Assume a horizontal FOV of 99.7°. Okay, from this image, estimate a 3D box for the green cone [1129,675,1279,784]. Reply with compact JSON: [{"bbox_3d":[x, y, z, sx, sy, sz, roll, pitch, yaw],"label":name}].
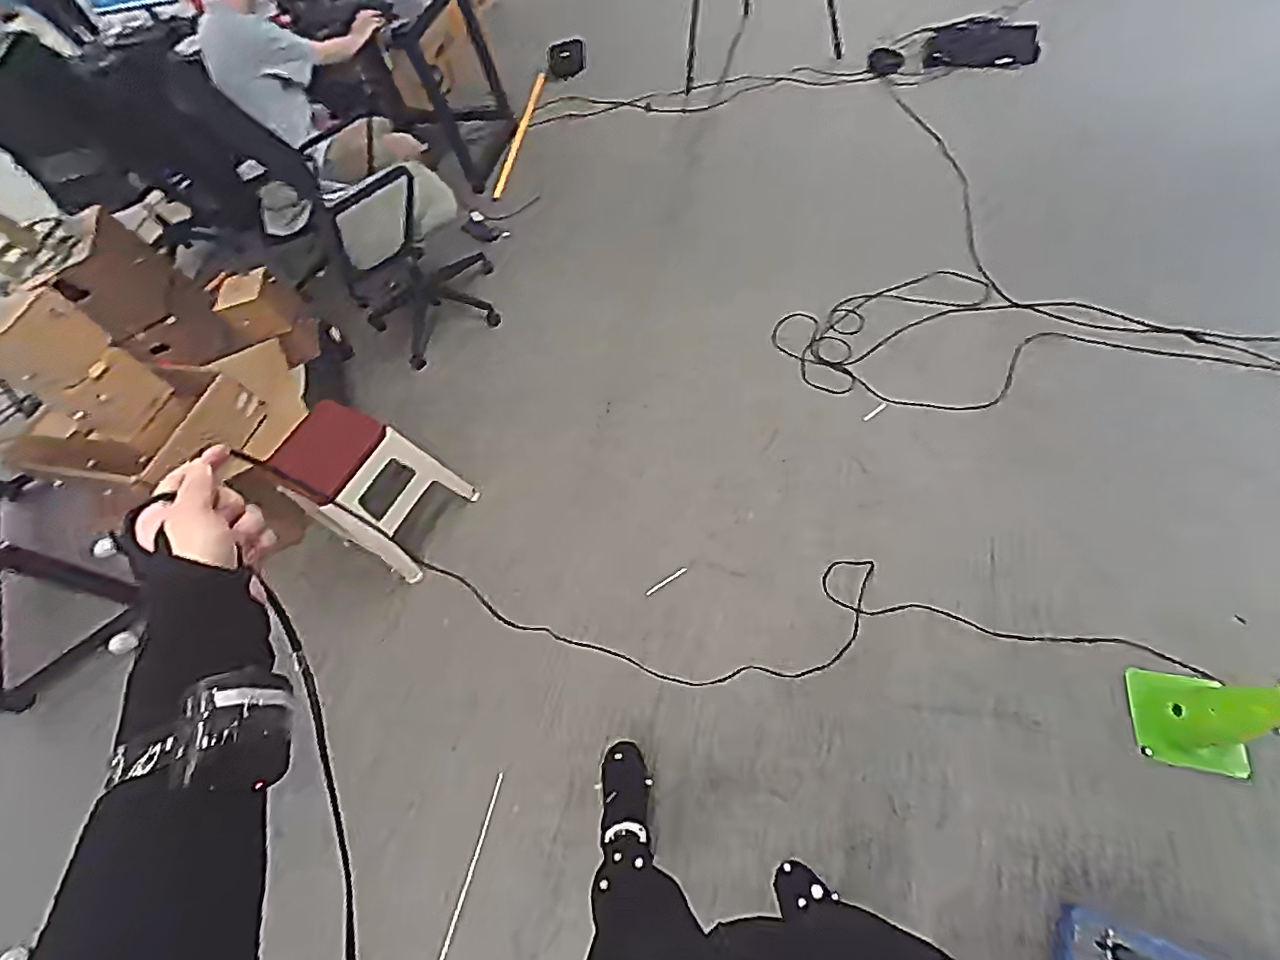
[{"bbox_3d":[1.202,0.466,1.068,0.200,0.368,0.202,5,61,16],"label":"green cone"}]
